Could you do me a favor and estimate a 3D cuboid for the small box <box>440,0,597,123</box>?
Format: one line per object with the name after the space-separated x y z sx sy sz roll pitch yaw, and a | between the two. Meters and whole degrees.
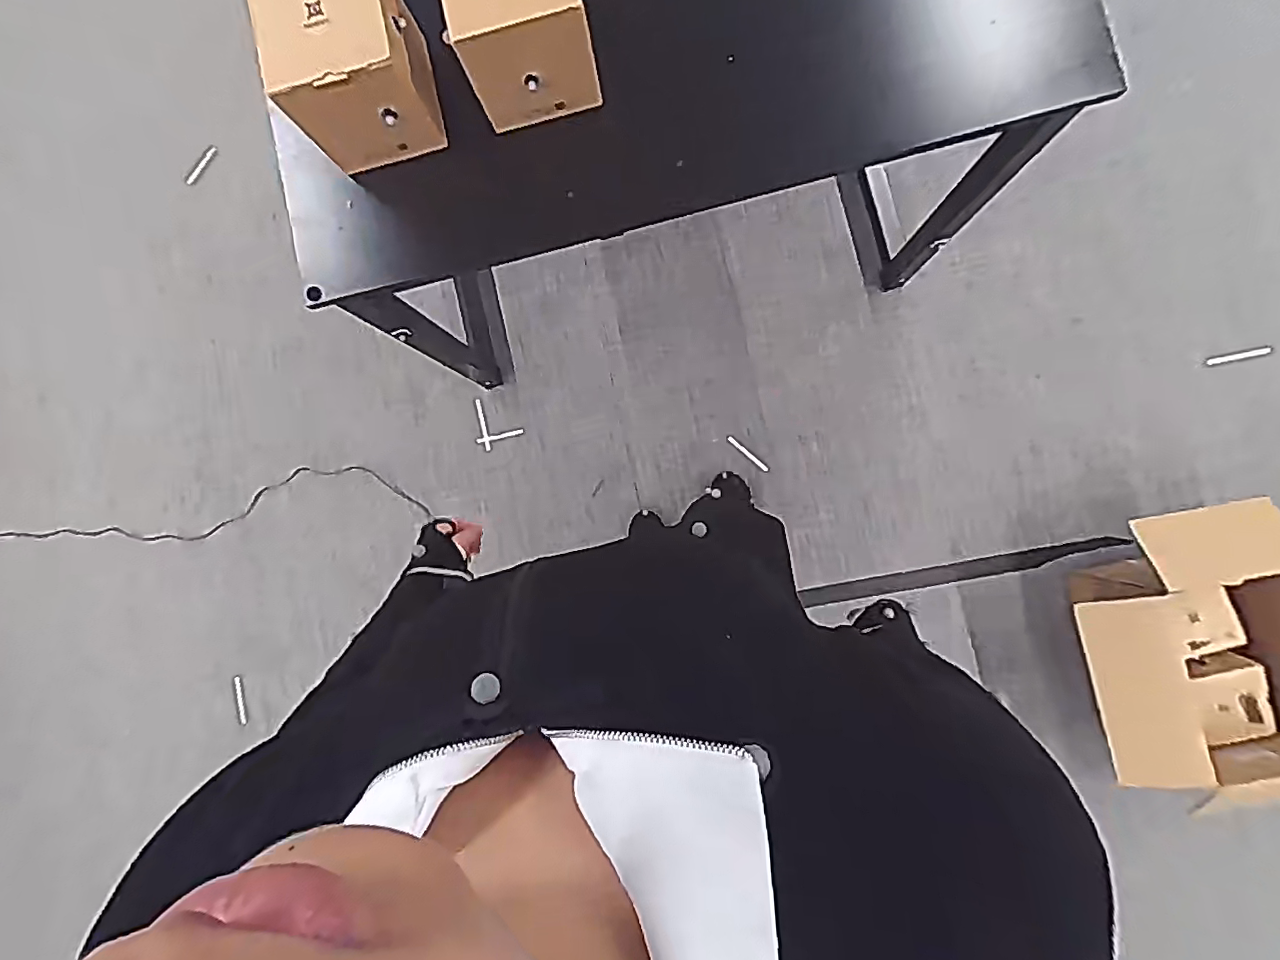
-0.161 -0.620 0.728 0.168 0.176 0.179 -12 87 3 | small box

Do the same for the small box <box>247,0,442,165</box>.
-0.395 -0.570 0.746 0.168 0.176 0.179 -14 86 2 | small box
